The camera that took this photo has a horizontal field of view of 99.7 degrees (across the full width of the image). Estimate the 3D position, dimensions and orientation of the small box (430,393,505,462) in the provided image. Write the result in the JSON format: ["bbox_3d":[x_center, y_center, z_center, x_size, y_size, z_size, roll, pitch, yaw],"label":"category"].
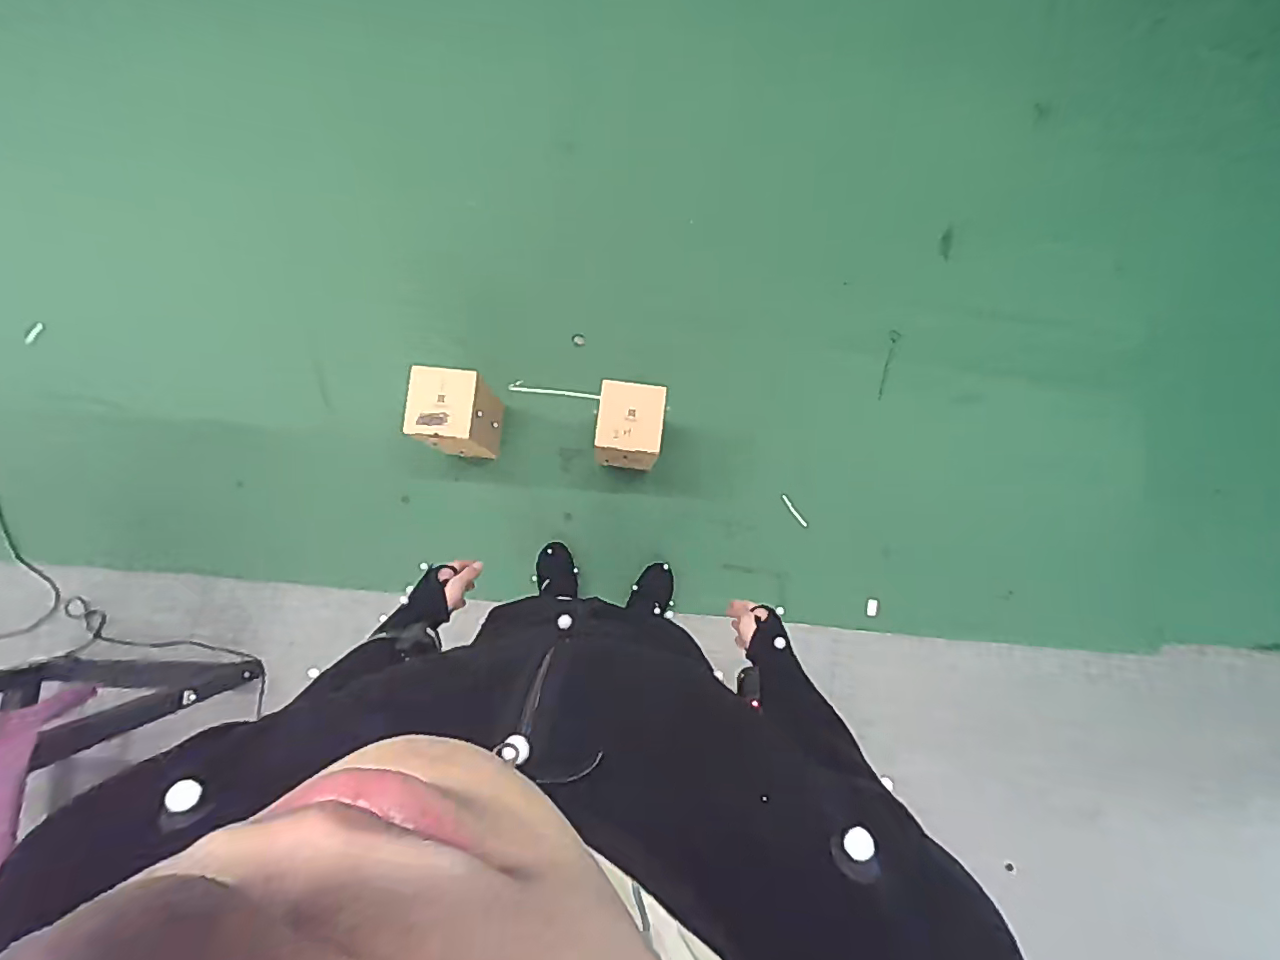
[{"bbox_3d":[-0.499,-0.157,1.587,0.168,0.176,0.179,5,84,-1],"label":"small box"}]

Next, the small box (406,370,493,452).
[{"bbox_3d":[-0.494,-0.175,1.424,0.168,0.176,0.179,5,84,-2],"label":"small box"}]

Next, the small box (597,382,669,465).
[{"bbox_3d":[-0.021,-0.145,1.435,0.168,0.176,0.179,6,84,-1],"label":"small box"}]
